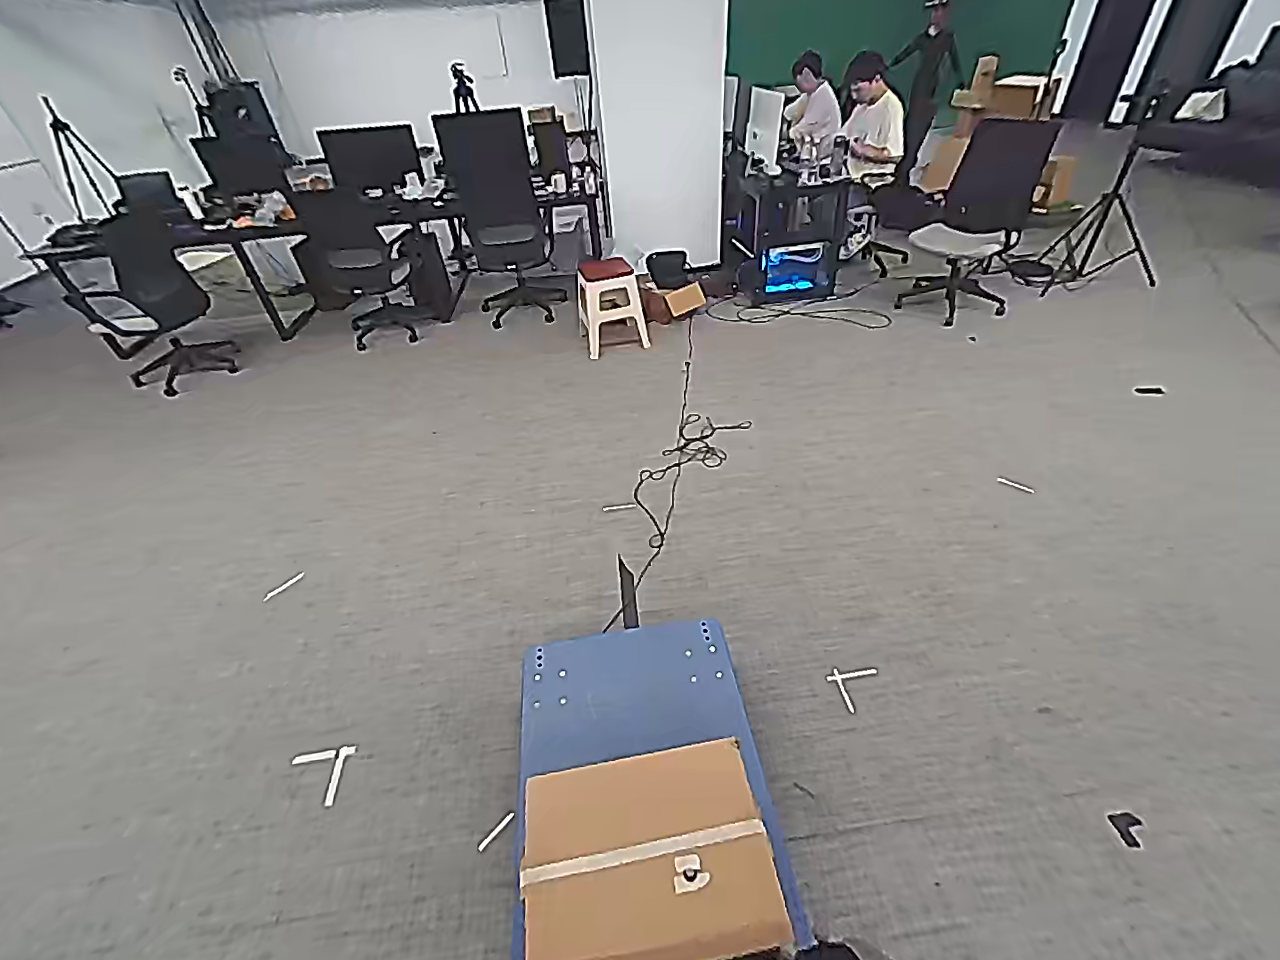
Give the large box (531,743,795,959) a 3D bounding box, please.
[{"bbox_3d":[0.026,0.751,1.006,0.408,0.320,0.320,-9,41,-5],"label":"large box"}]
